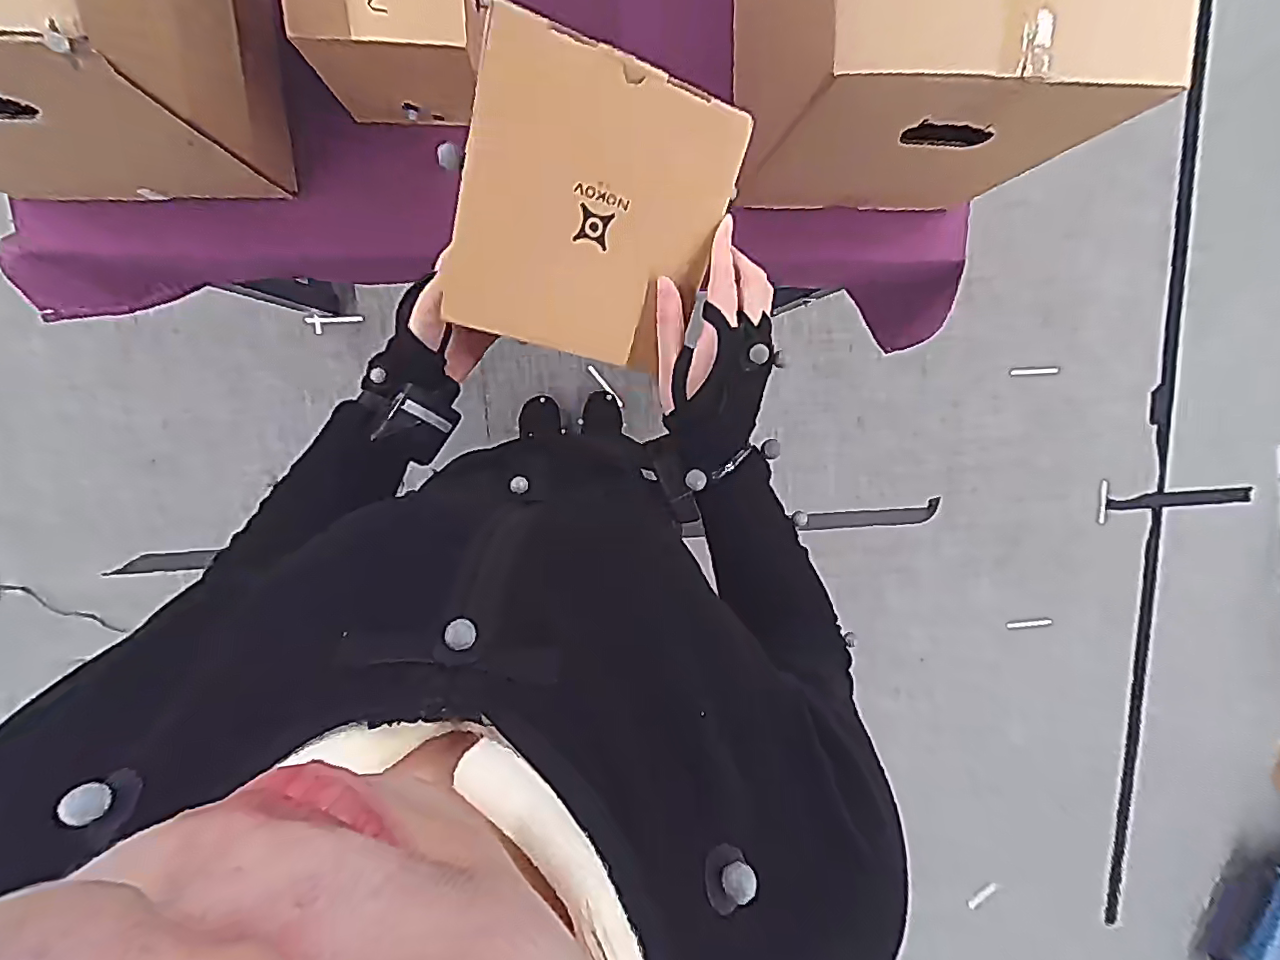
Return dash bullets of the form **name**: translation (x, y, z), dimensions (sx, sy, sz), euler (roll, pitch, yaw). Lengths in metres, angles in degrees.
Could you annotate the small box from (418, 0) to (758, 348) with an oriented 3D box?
- **small box**: translation (-0.026, -0.201, 0.376), dimensions (0.179, 0.176, 0.168), euler (11, 93, -1)
